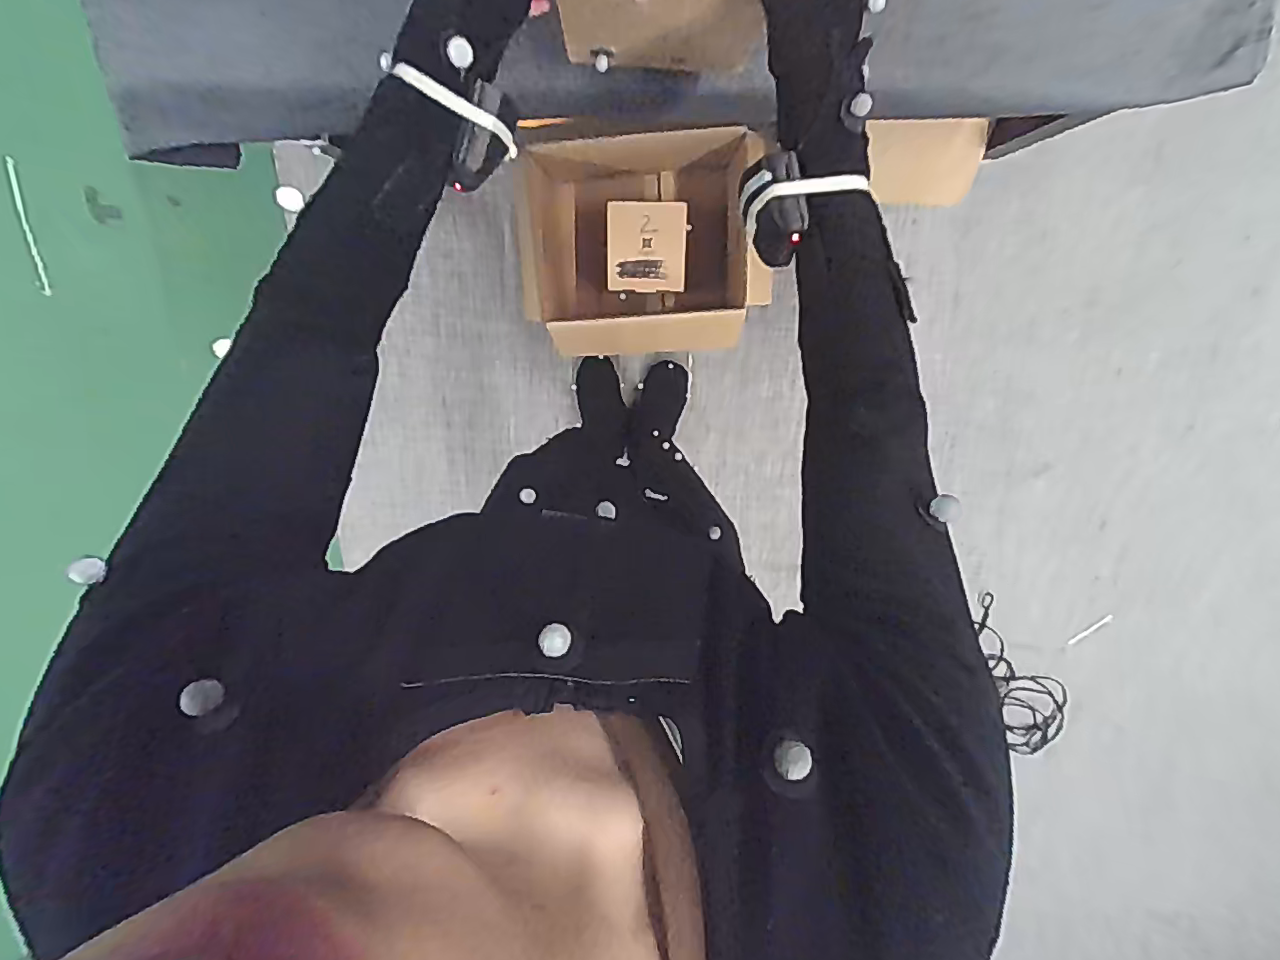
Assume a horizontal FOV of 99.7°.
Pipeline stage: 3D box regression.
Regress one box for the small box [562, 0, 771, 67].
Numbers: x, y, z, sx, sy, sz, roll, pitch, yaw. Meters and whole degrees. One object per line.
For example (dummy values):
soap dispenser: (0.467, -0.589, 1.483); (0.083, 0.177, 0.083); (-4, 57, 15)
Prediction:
small box: (0.024, -0.447, 0.409); (0.168, 0.176, 0.179); (2, 109, -3)
